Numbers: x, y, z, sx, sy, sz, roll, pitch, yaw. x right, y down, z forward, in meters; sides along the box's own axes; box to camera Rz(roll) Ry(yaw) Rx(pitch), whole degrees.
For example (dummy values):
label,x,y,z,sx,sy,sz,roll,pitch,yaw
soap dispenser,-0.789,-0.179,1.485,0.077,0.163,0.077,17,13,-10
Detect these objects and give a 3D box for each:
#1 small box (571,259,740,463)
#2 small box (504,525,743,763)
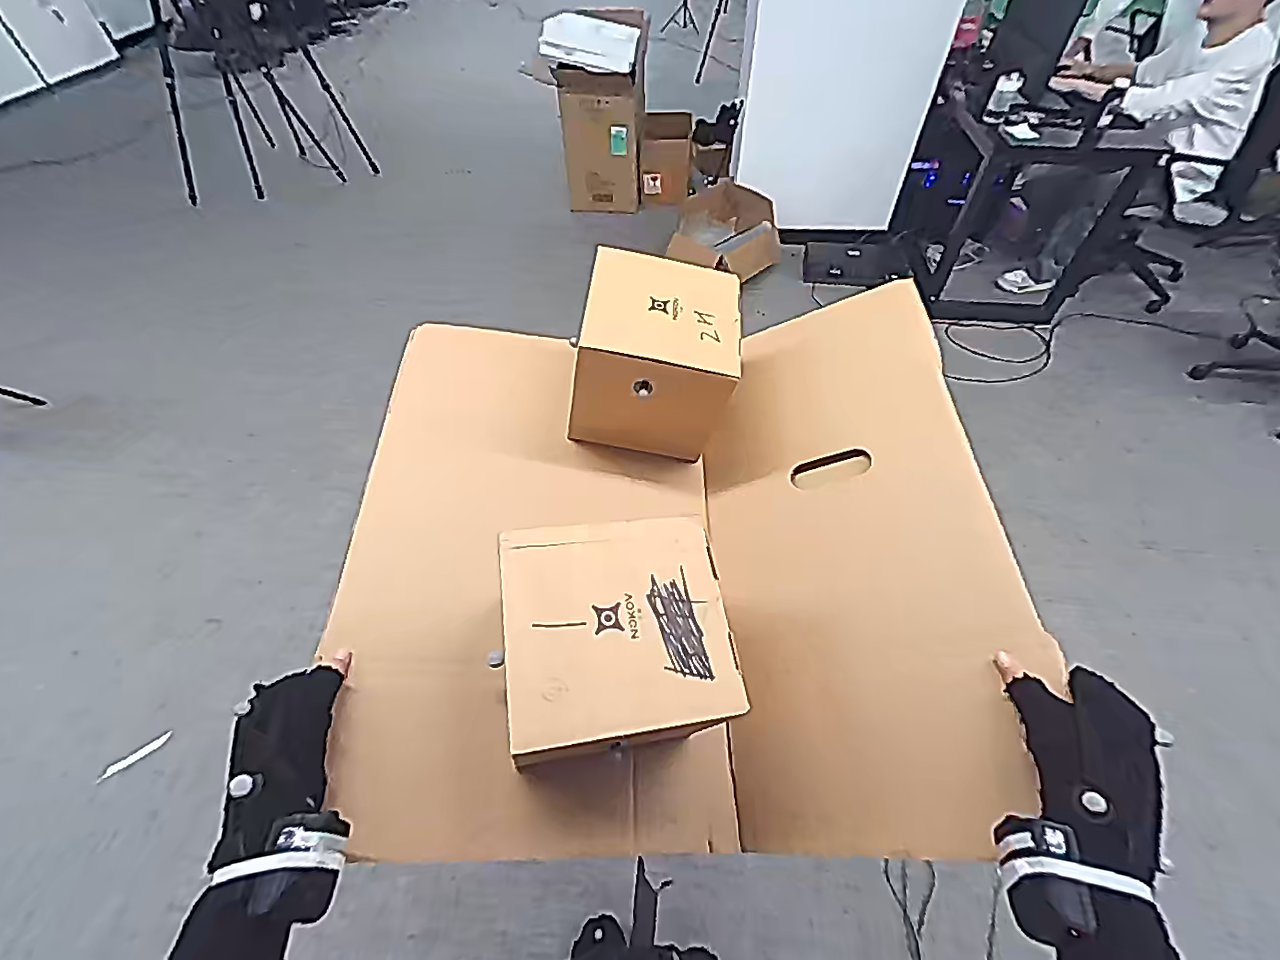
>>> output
label,x,y,z,sx,sy,sz,roll,pitch,yaw
small box,0.014,-0.140,0.678,0.179,0.176,0.168,11,59,-6
small box,-0.031,0.153,0.495,0.179,0.176,0.168,-3,61,-13
